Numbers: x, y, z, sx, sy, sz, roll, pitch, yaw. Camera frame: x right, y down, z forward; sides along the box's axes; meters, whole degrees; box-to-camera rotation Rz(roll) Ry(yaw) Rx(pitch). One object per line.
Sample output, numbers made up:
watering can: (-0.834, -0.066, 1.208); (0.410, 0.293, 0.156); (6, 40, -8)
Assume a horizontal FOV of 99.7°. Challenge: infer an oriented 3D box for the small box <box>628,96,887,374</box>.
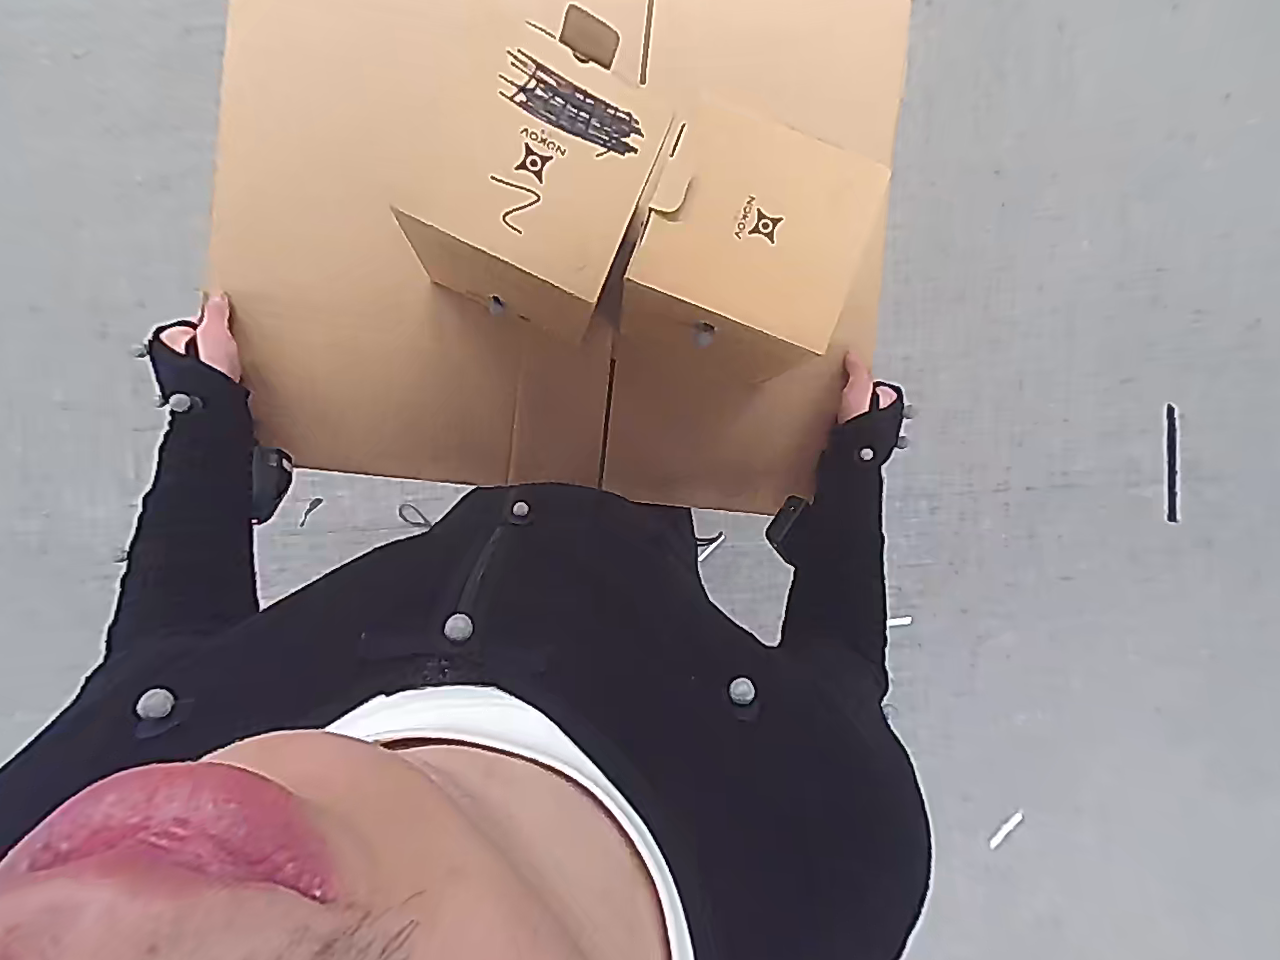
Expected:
small box: (0.097, -0.214, 0.530); (0.179, 0.176, 0.168); (20, 90, -3)
